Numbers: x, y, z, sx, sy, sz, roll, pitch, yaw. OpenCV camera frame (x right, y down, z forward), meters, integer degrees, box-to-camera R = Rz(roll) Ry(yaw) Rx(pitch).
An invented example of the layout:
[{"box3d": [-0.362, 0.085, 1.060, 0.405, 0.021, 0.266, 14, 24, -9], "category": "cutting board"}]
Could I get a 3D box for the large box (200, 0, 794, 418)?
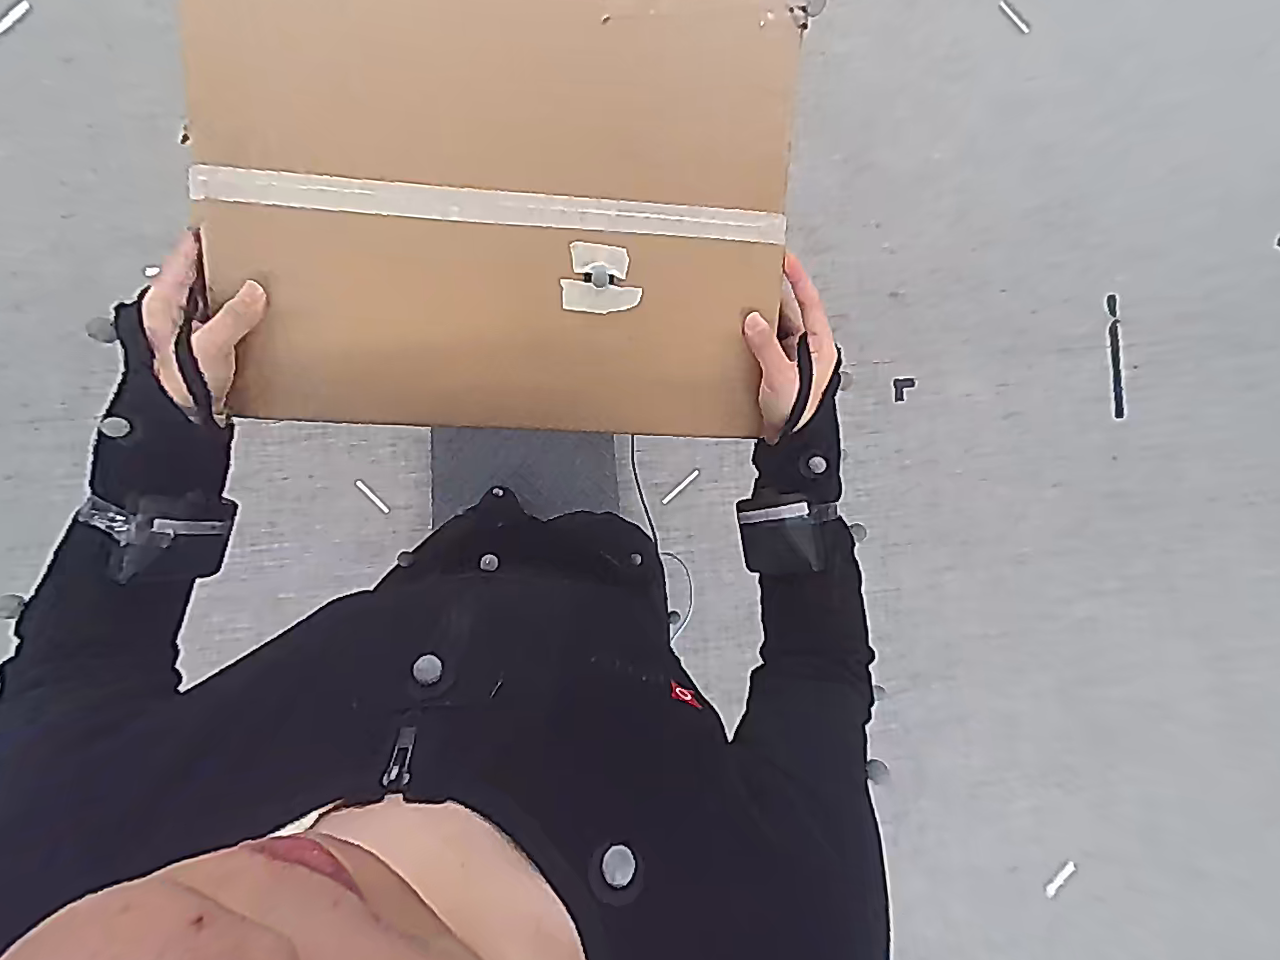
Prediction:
[{"box3d": [-0.110, -0.231, 0.535, 0.408, 0.320, 0.320, 2, 102, -7], "category": "large box"}]
